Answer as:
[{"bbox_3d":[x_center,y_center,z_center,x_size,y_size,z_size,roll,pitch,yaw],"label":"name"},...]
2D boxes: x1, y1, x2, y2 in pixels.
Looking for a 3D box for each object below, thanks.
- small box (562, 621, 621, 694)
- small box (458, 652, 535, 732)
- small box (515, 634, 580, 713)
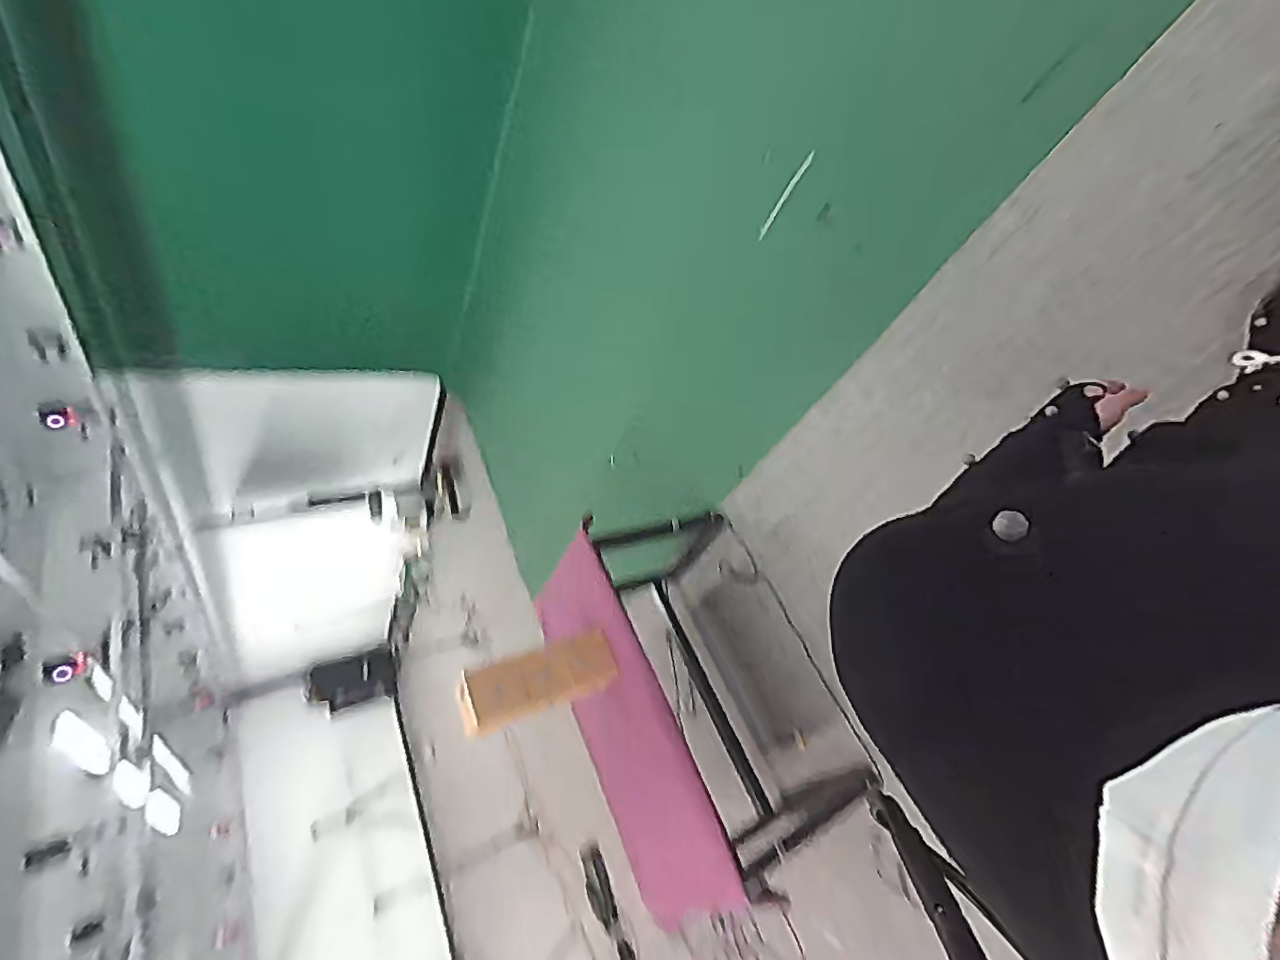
[{"bbox_3d":[-0.191,0.625,1.910,0.168,0.176,0.179,-53,55,45],"label":"small box"},{"bbox_3d":[-0.458,0.669,1.725,0.179,0.176,0.168,60,140,25],"label":"small box"},{"bbox_3d":[-0.324,0.647,1.818,0.179,0.176,0.168,61,139,24],"label":"small box"}]
